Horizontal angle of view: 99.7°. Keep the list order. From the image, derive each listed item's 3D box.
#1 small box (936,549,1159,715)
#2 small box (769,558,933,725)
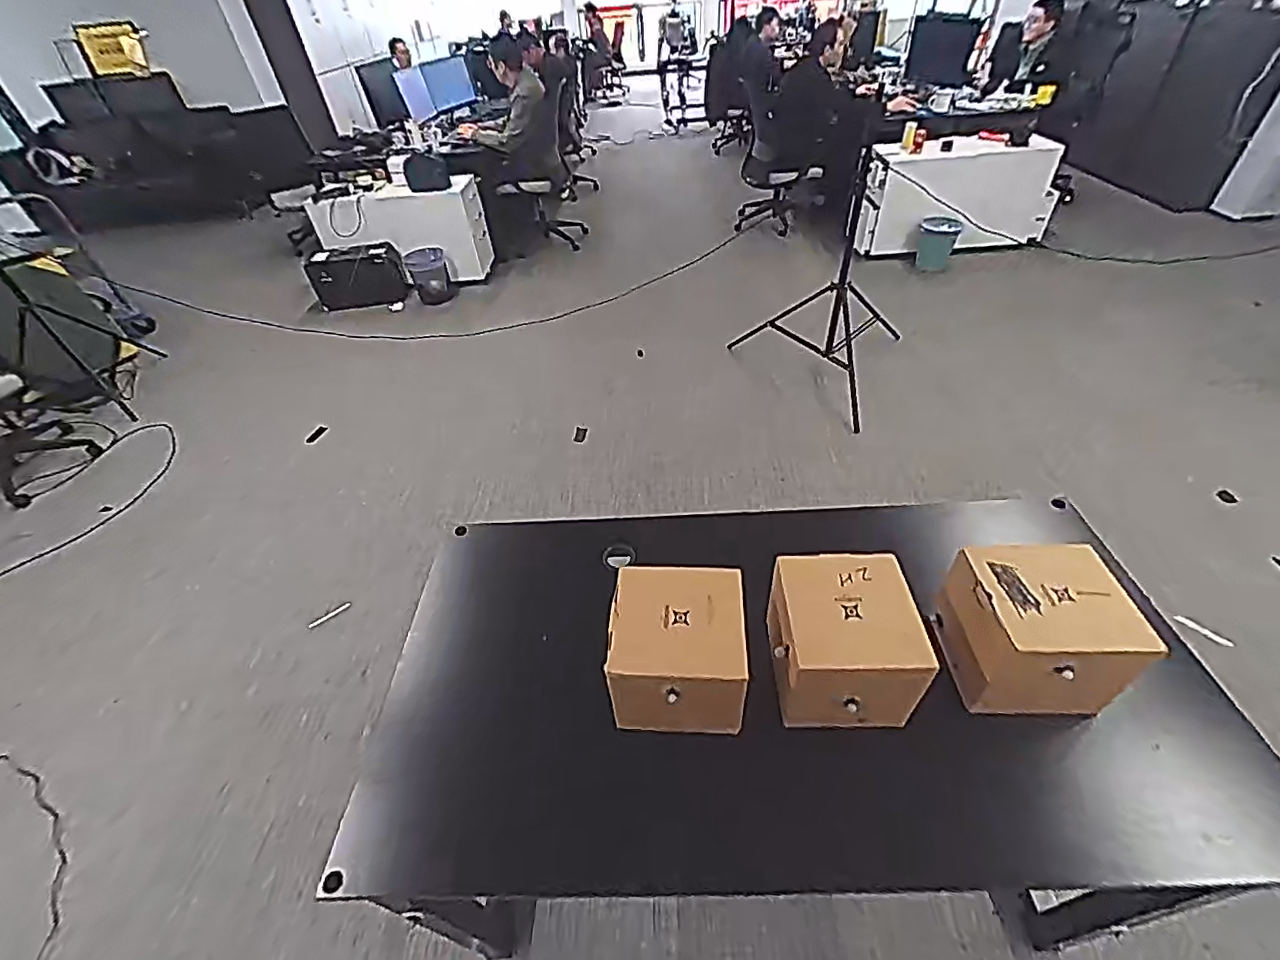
[{"bbox_3d":[0.543,0.214,0.760,0.179,0.176,0.168,-1,43,4],"label":"small box"},{"bbox_3d":[0.282,0.232,0.769,0.168,0.176,0.179,-1,43,4],"label":"small box"}]
